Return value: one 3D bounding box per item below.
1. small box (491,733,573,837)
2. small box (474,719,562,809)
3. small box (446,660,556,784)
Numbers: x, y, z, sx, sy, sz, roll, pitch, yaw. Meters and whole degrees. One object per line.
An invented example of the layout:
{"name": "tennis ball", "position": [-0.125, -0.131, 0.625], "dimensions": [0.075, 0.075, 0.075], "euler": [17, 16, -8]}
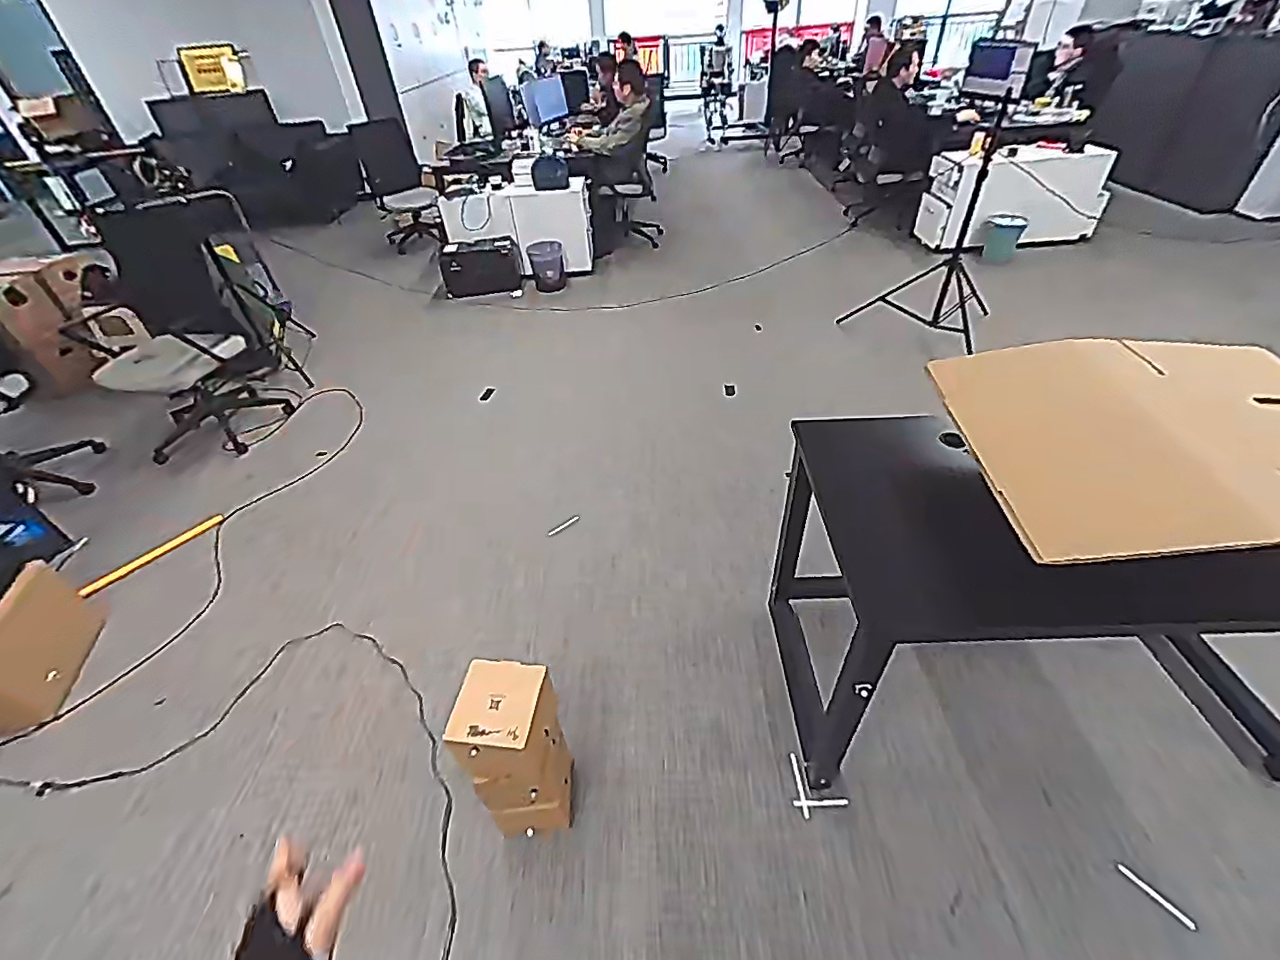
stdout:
{"name": "small box", "position": [-0.262, 0.762, 1.351], "dimensions": [0.168, 0.176, 0.179], "euler": [-5, 41, -1]}
{"name": "small box", "position": [-0.274, 0.635, 1.251], "dimensions": [0.168, 0.176, 0.179], "euler": [-7, 39, -4]}
{"name": "small box", "position": [-0.281, 0.510, 1.144], "dimensions": [0.168, 0.176, 0.179], "euler": [2, 40, 7]}
